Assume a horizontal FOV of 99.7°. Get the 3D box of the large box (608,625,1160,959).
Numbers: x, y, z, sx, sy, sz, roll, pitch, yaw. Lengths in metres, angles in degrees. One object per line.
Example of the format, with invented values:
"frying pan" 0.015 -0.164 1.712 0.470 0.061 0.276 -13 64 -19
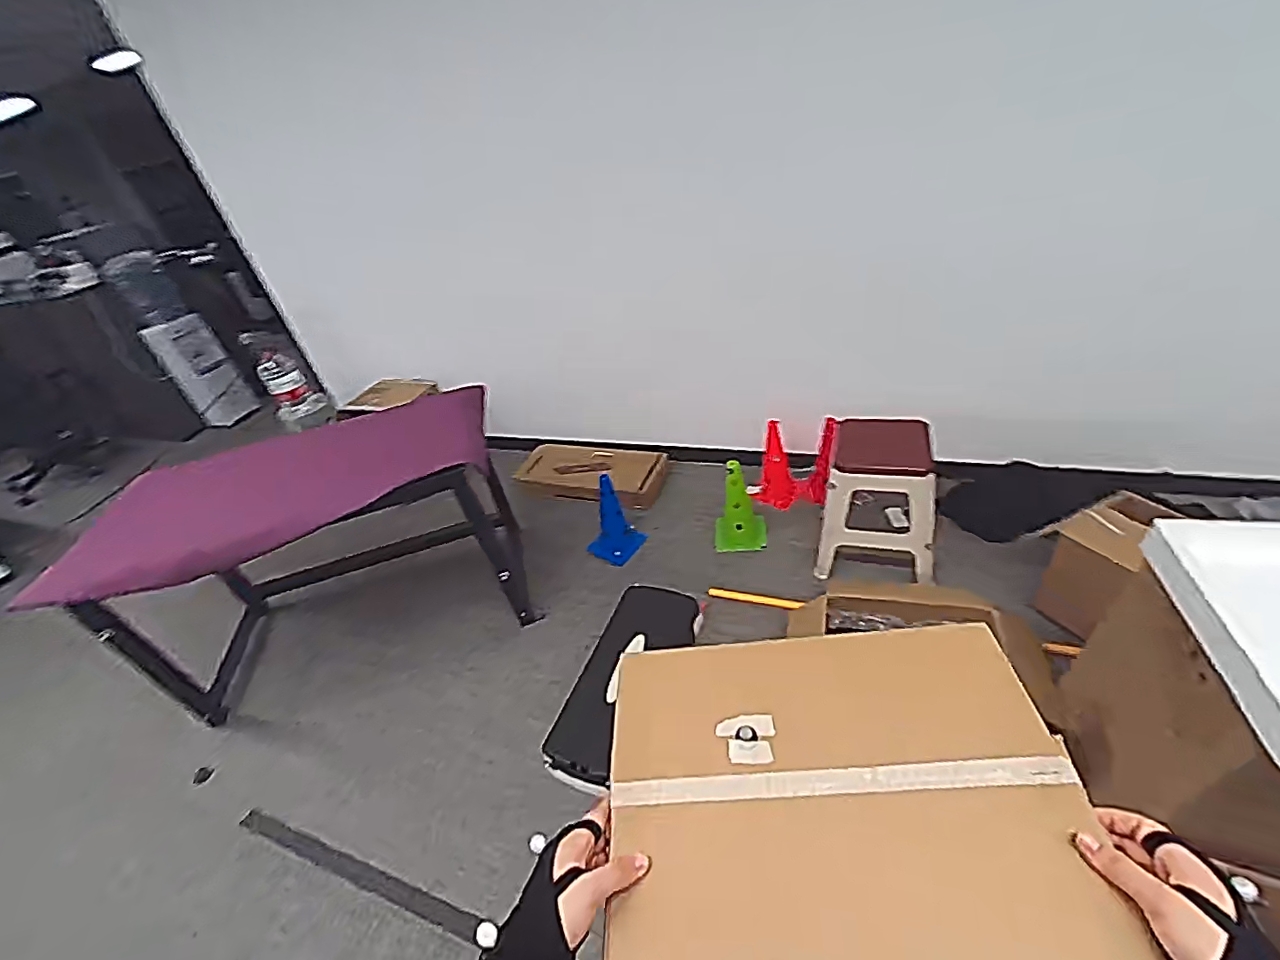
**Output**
"large box" 0.202 0.399 0.591 0.408 0.320 0.320 -10 37 8
